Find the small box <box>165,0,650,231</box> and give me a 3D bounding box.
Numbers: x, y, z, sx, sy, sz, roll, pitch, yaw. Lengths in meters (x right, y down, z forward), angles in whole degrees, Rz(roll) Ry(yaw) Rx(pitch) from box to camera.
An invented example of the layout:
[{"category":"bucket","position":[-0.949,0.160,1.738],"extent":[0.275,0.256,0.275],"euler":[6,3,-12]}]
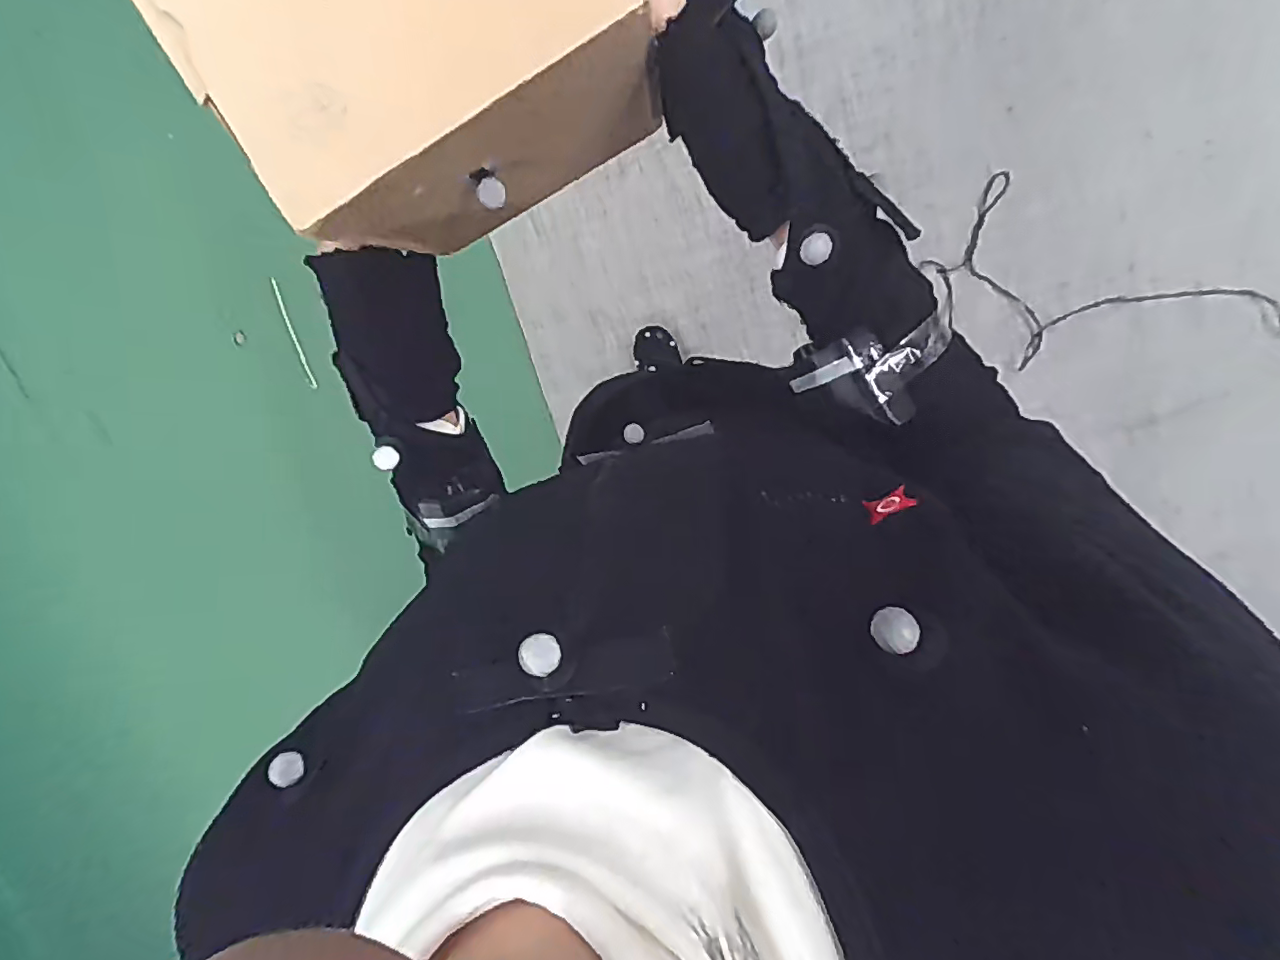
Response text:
[{"category":"small box","position":[-0.109,-0.253,0.276],"extent":[0.179,0.176,0.168],"euler":[-27,103,13]}]
